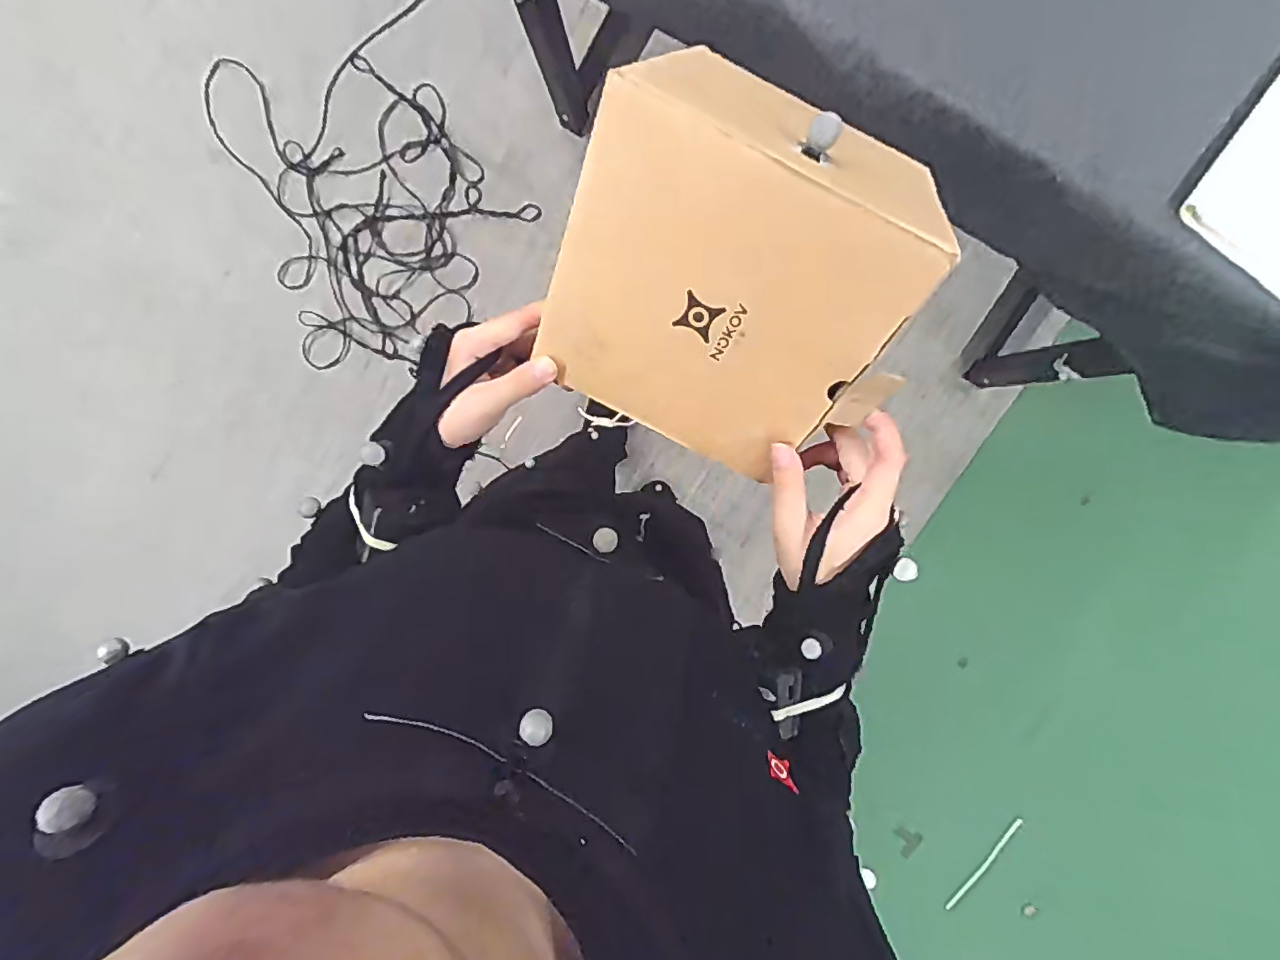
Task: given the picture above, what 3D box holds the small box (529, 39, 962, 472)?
[{"bbox_3d":[0.058,-0.144,0.344,0.179,0.176,0.168,26,134,-3],"label":"small box"}]
